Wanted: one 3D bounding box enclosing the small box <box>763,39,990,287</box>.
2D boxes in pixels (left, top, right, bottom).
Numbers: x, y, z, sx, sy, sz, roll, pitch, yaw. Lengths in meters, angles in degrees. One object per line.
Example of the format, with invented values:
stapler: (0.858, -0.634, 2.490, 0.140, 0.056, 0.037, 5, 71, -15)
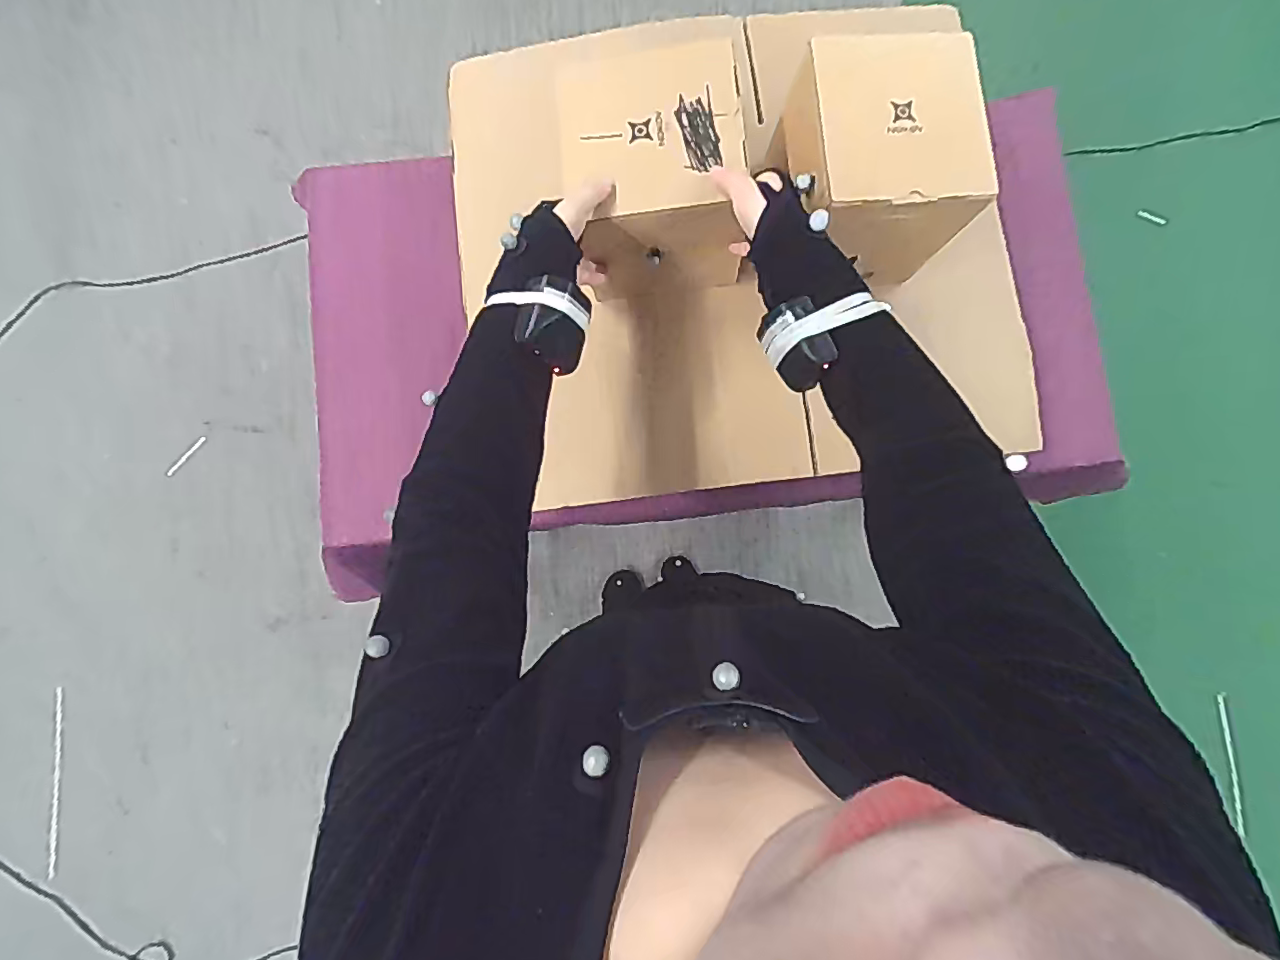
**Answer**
small box: (0.243, -0.337, 0.600, 0.168, 0.176, 0.179, -4, 84, -3)
